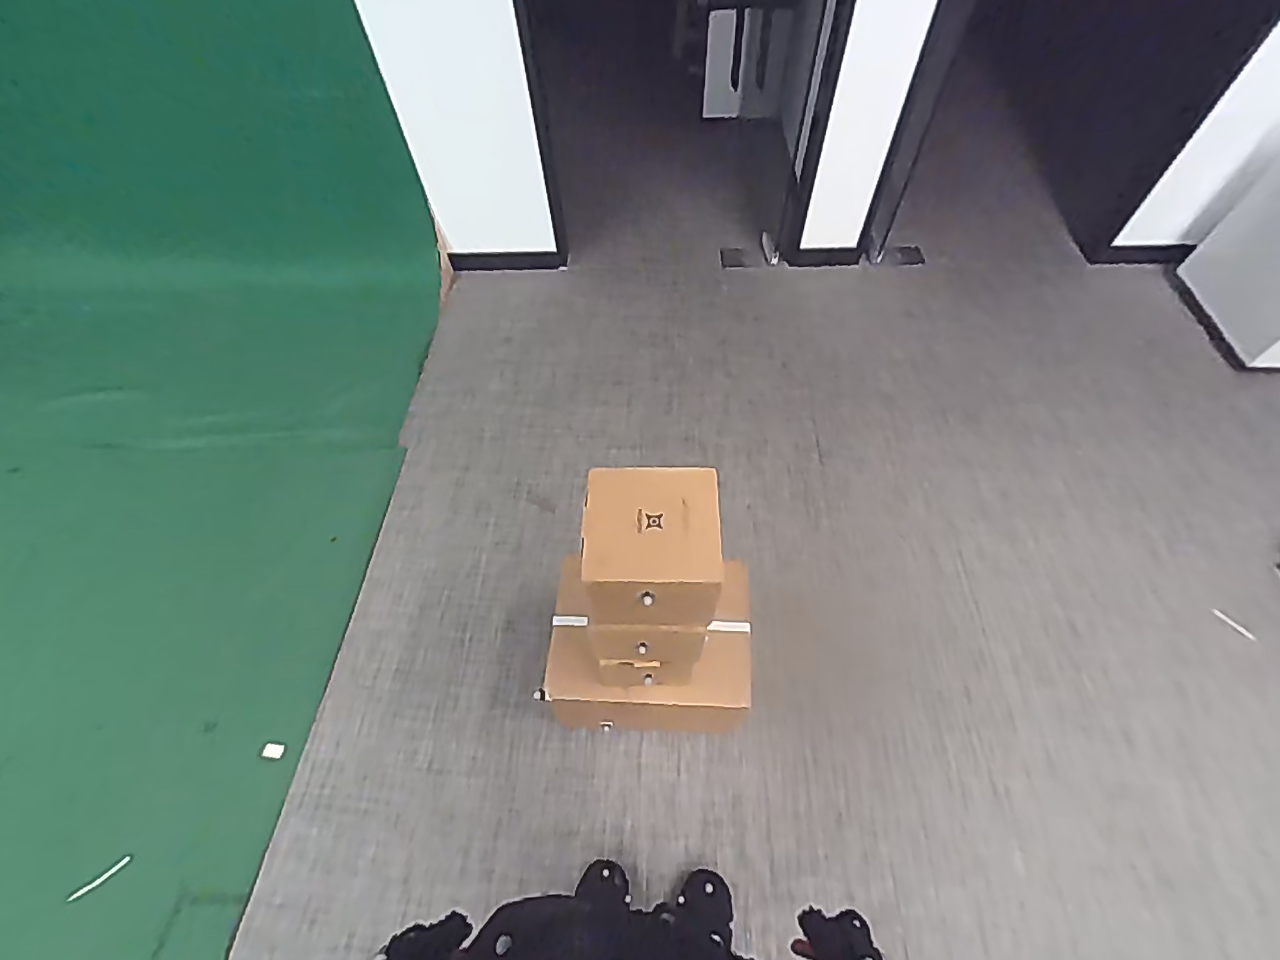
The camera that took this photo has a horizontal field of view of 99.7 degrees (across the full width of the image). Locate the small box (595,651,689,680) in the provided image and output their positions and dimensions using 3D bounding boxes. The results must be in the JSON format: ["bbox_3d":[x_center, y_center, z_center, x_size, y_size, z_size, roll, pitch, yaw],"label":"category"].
[{"bbox_3d":[0.006,0.279,1.030,0.168,0.176,0.179,-2,58,1],"label":"small box"}]

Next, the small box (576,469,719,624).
[{"bbox_3d":[0.012,0.098,0.758,0.179,0.176,0.168,0,58,1],"label":"small box"}]

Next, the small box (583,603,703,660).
[{"bbox_3d":[0.010,0.191,0.890,0.179,0.176,0.168,1,57,3],"label":"small box"}]
